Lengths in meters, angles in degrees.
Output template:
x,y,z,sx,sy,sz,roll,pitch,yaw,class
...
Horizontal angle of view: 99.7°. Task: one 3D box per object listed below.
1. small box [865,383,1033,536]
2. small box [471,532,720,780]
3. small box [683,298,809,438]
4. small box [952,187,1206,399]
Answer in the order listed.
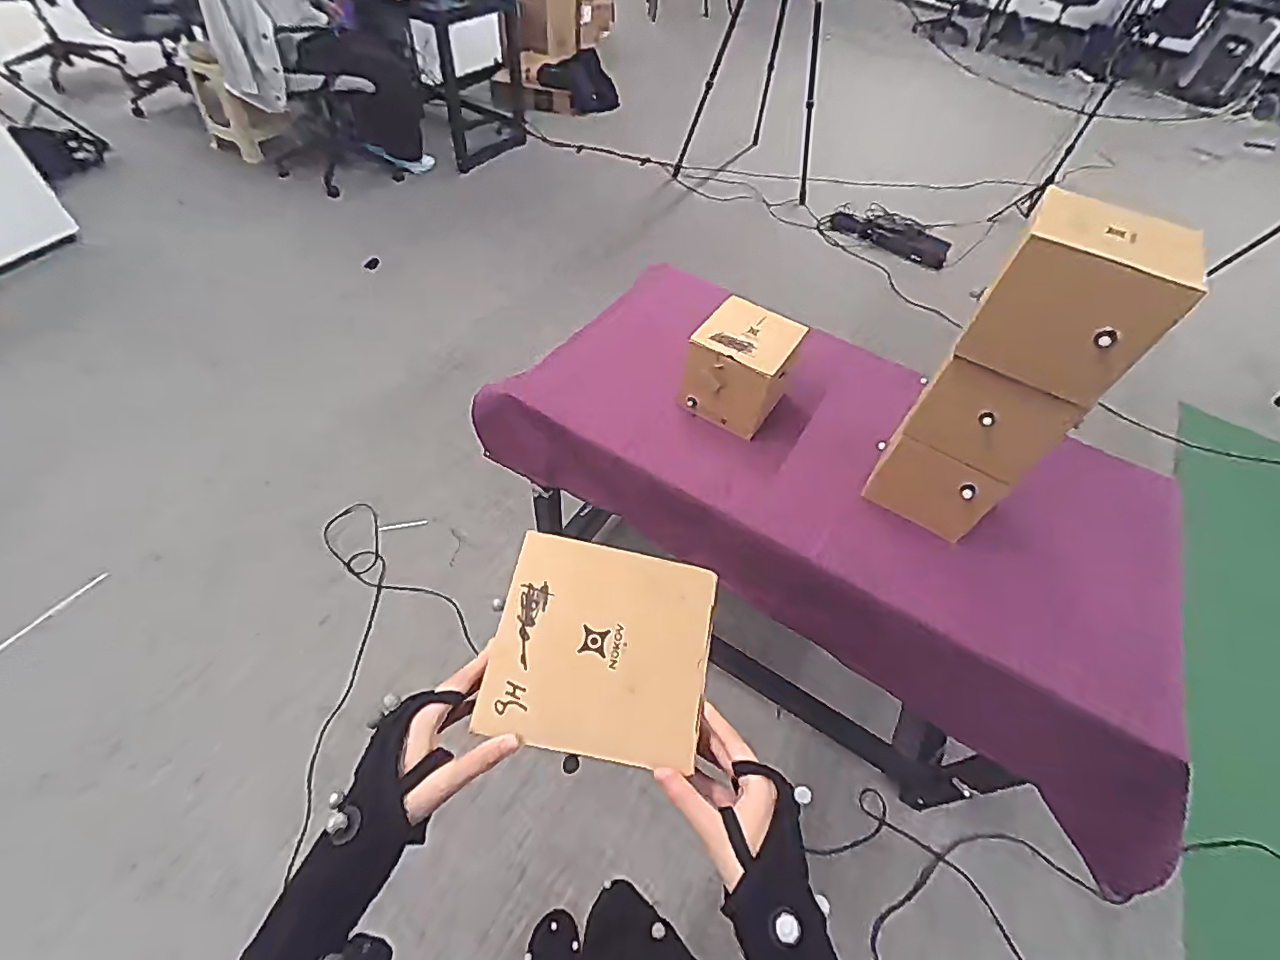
x,y,z,sx,sy,sz,roll,pitch,yaw,class
0.526,-0.028,0.935,0.179,0.176,0.168,30,55,17,small box
-0.040,0.171,0.514,0.179,0.176,0.168,15,62,-3,small box
0.196,-0.213,1.044,0.168,0.176,0.179,30,55,16,small box
0.534,-0.226,0.673,0.179,0.176,0.168,30,55,17,small box
